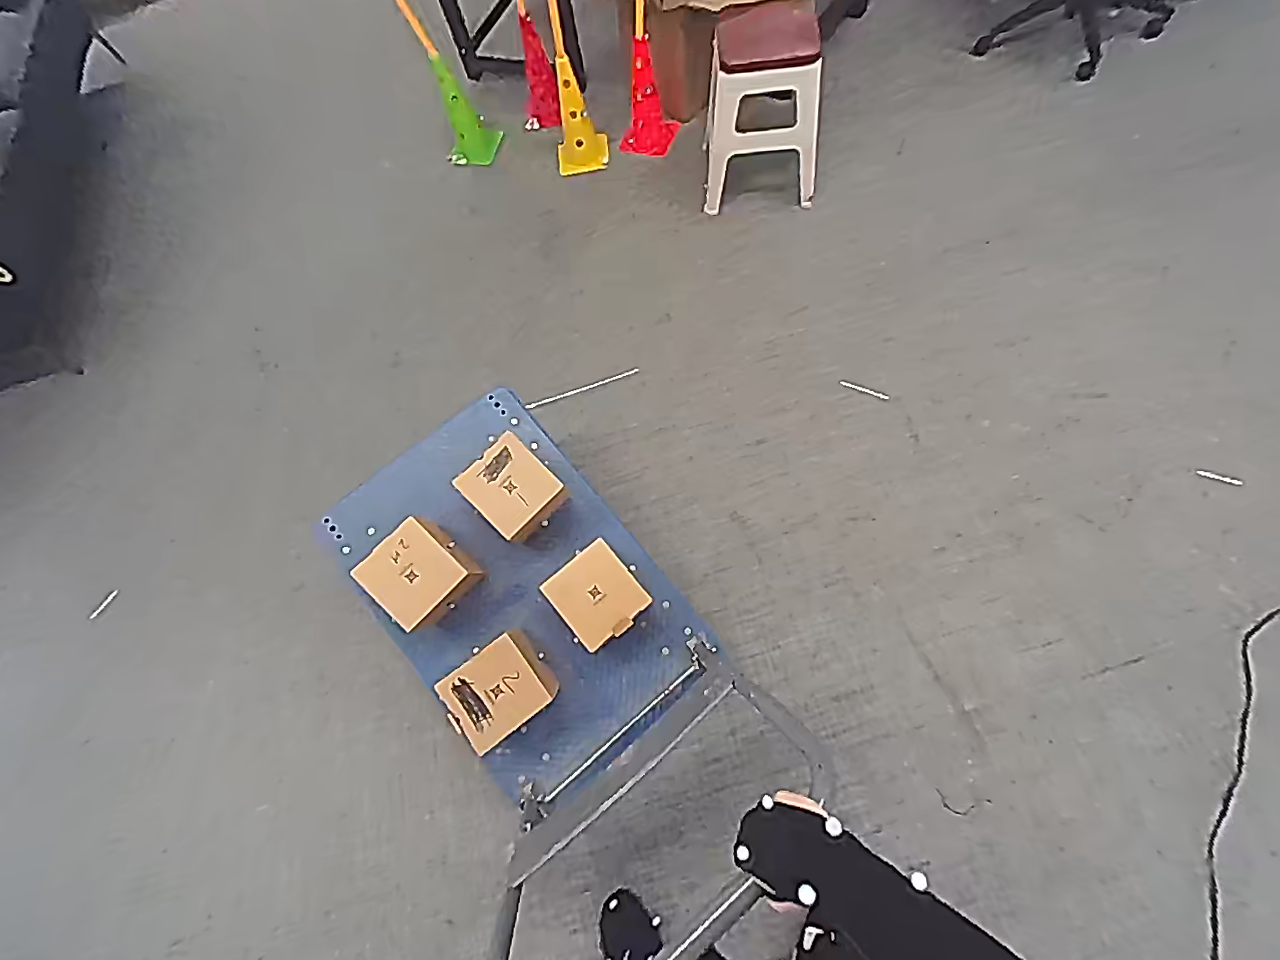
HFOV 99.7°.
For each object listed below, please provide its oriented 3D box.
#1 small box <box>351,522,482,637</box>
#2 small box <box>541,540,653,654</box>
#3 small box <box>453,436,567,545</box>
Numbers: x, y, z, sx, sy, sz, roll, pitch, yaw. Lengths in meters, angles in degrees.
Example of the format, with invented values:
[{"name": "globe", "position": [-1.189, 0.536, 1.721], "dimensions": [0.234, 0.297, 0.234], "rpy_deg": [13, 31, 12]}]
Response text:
[{"name": "small box", "position": [-0.472, 0.214, 1.174], "dimensions": [0.179, 0.176, 0.168], "rpy_deg": [43, 79, 5]}, {"name": "small box", "position": [-0.095, 0.256, 1.190], "dimensions": [0.168, 0.176, 0.179], "rpy_deg": [-39, 85, -9]}, {"name": "small box", "position": [-0.283, 0.032, 1.219], "dimensions": [0.179, 0.176, 0.168], "rpy_deg": [44, 81, 4]}]
